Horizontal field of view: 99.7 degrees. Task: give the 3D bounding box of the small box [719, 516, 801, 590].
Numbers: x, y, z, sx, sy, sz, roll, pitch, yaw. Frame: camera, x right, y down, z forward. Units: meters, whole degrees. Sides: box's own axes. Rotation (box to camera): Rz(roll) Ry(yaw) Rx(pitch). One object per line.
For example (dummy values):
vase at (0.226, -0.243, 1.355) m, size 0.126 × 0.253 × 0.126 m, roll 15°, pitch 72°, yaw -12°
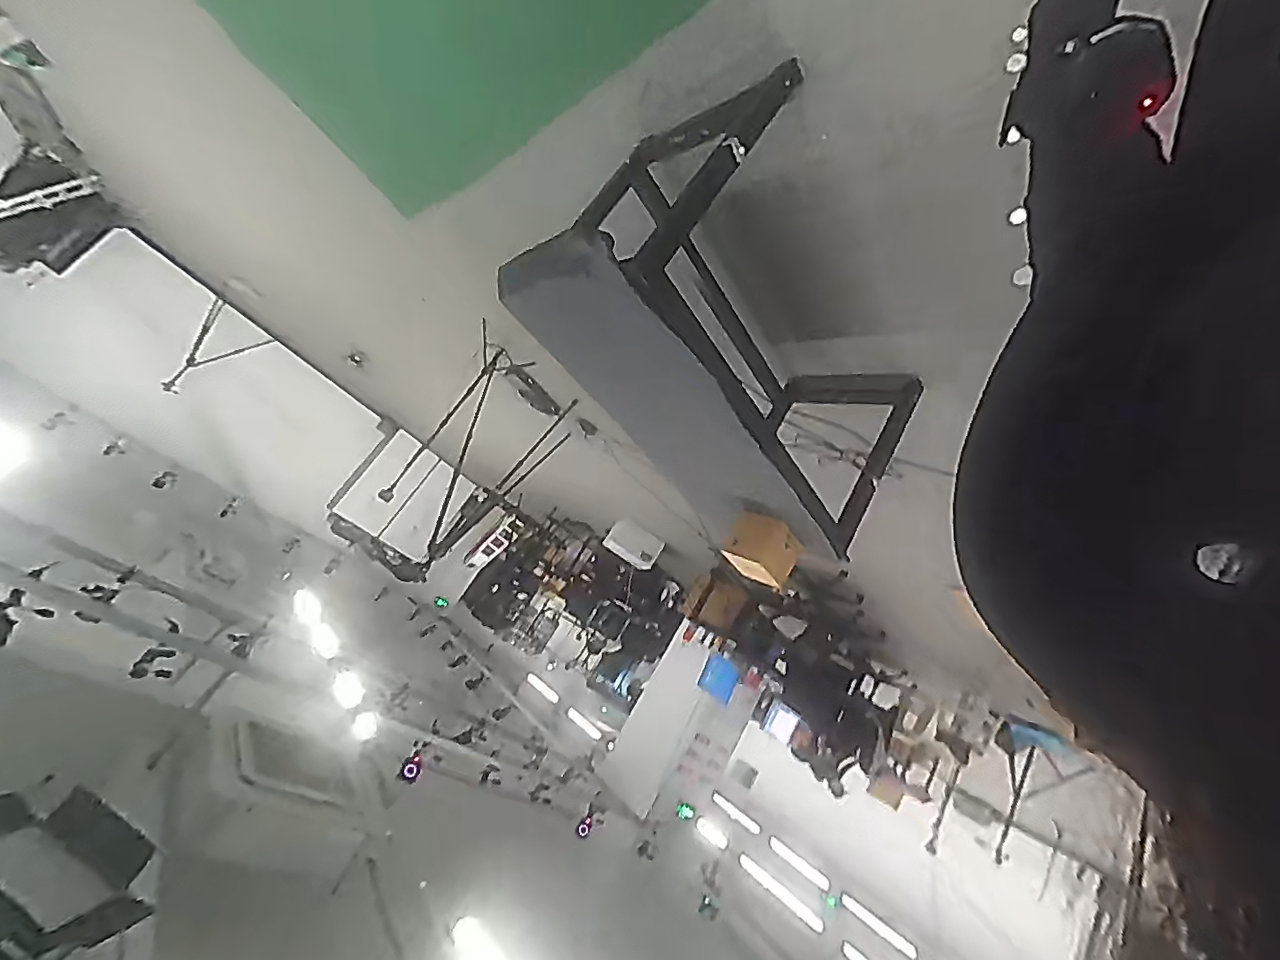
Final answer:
small box at (0.408, 0.239, 1.822) m, size 0.179 × 0.176 × 0.168 m, roll 13°, pitch 153°, yaw 52°
